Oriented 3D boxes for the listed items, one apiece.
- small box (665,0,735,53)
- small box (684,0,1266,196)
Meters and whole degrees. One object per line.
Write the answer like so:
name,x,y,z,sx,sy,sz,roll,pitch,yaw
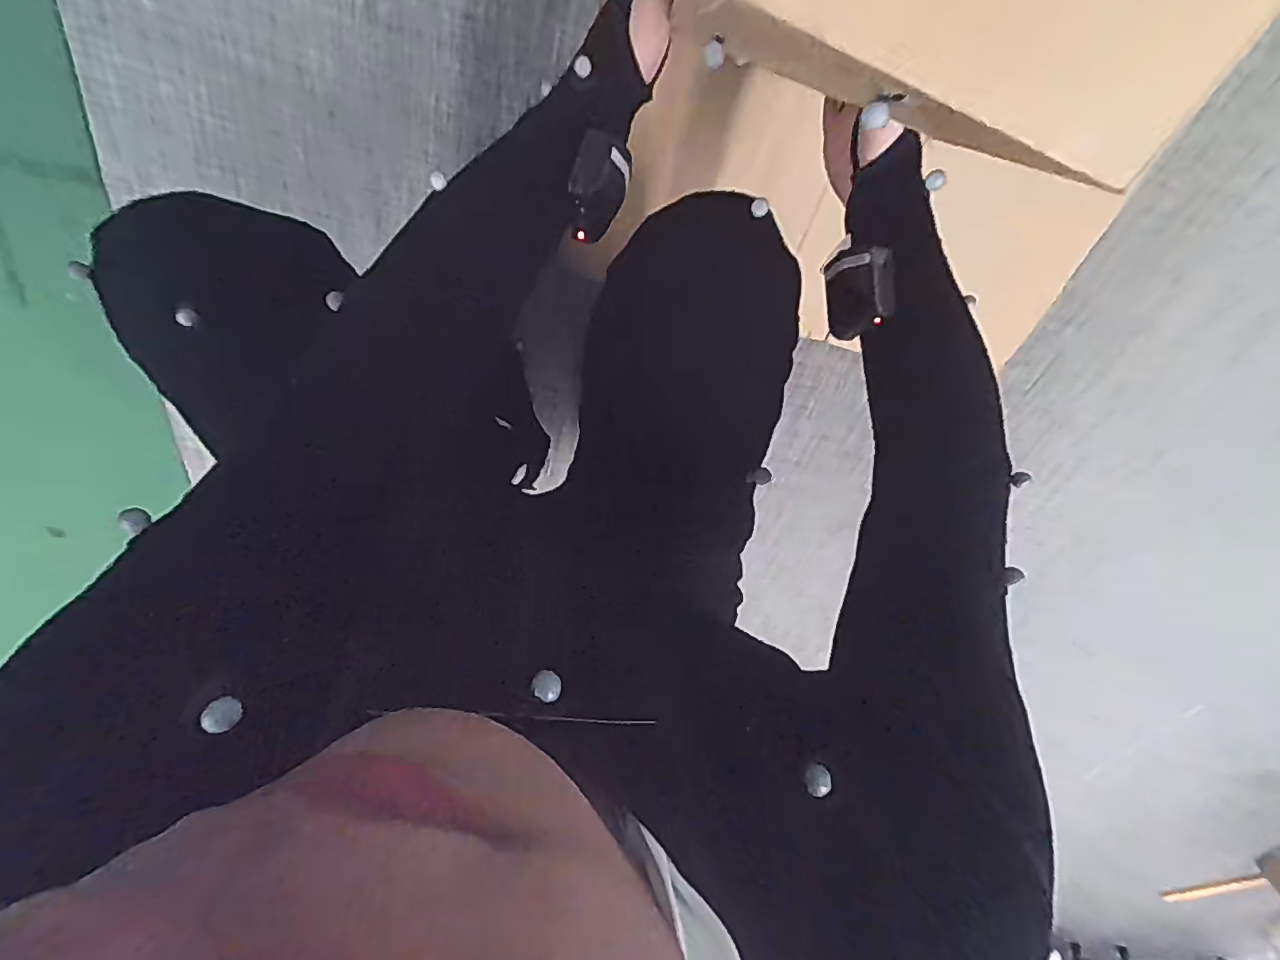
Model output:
small box,0.127,-0.457,0.453,0.179,0.176,0.168,14,127,-11
small box,0.126,-0.241,0.208,0.179,0.176,0.168,16,128,-13
